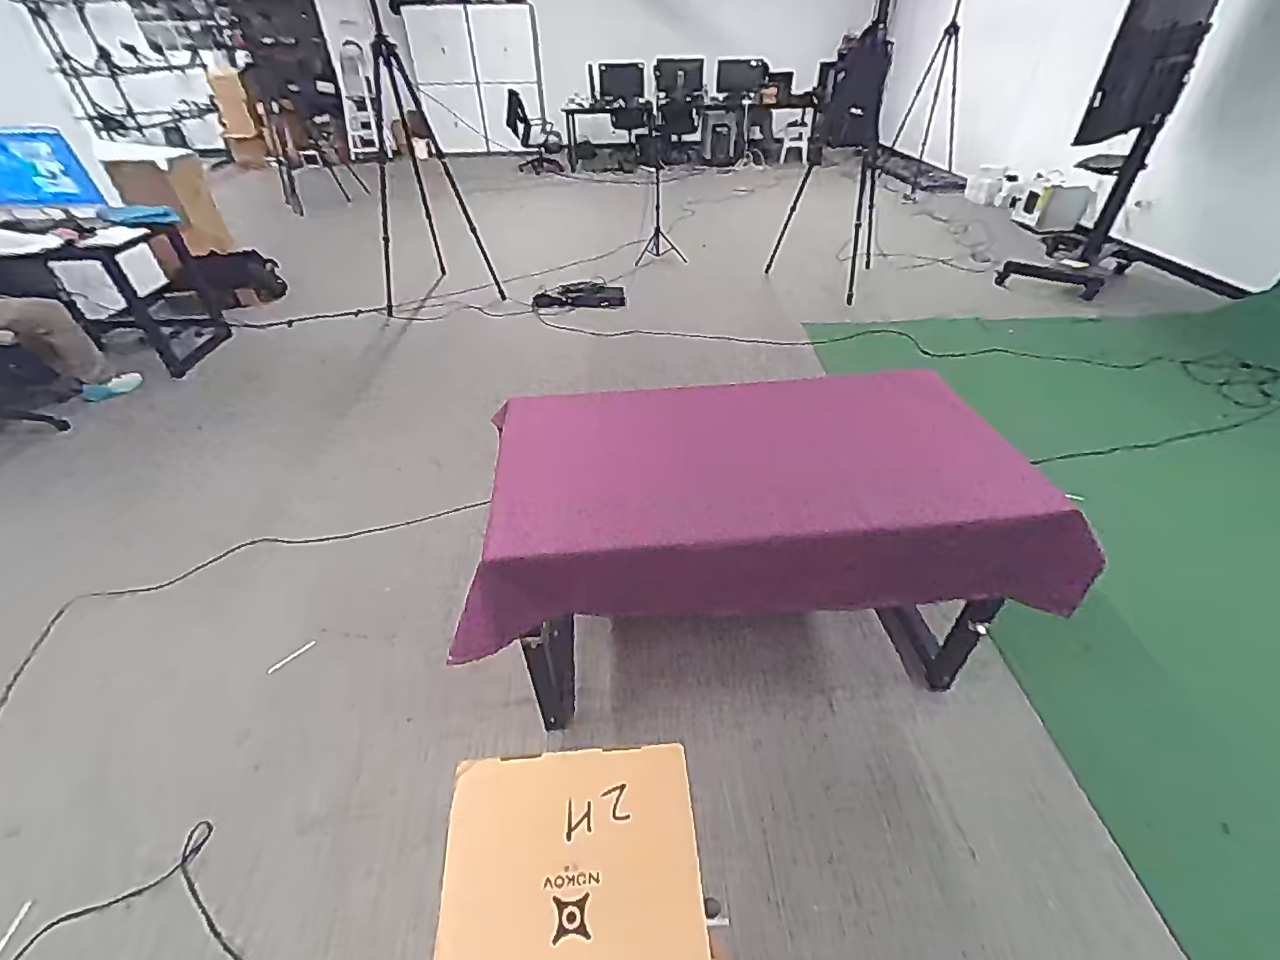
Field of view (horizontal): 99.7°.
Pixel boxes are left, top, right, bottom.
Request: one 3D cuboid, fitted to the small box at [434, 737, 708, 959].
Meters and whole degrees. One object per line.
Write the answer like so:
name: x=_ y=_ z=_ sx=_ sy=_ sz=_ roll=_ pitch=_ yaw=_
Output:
small box: x=-0.045 y=0.311 z=0.403 sx=0.168 sy=0.176 sz=0.179 roll=-2 pitch=50 yaw=-5
